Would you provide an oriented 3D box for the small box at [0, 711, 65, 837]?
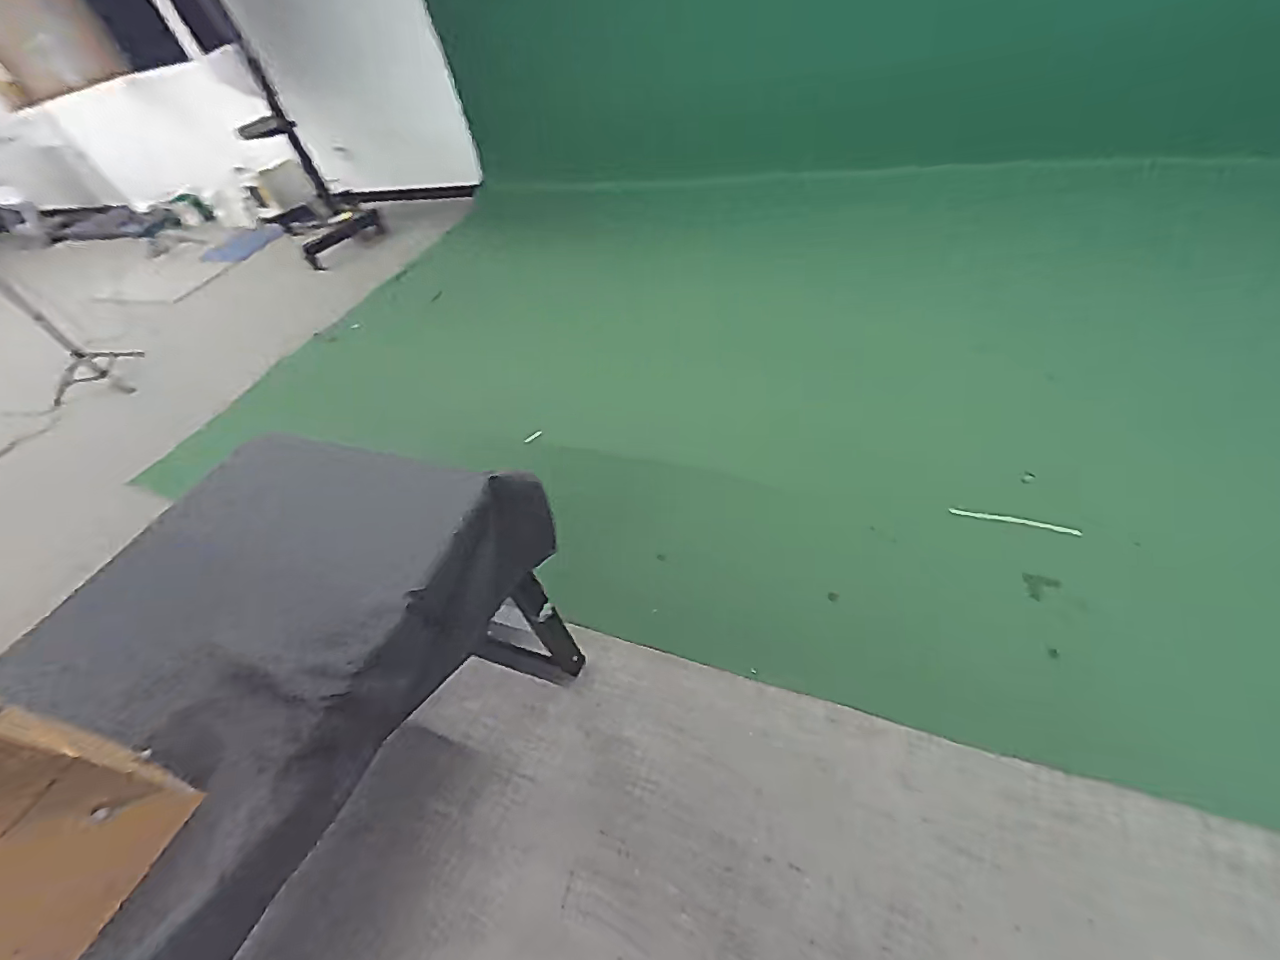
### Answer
[{"bbox_3d":[-0.668,0.269,0.447,0.168,0.176,0.179,9,50,22],"label":"small box"}]
